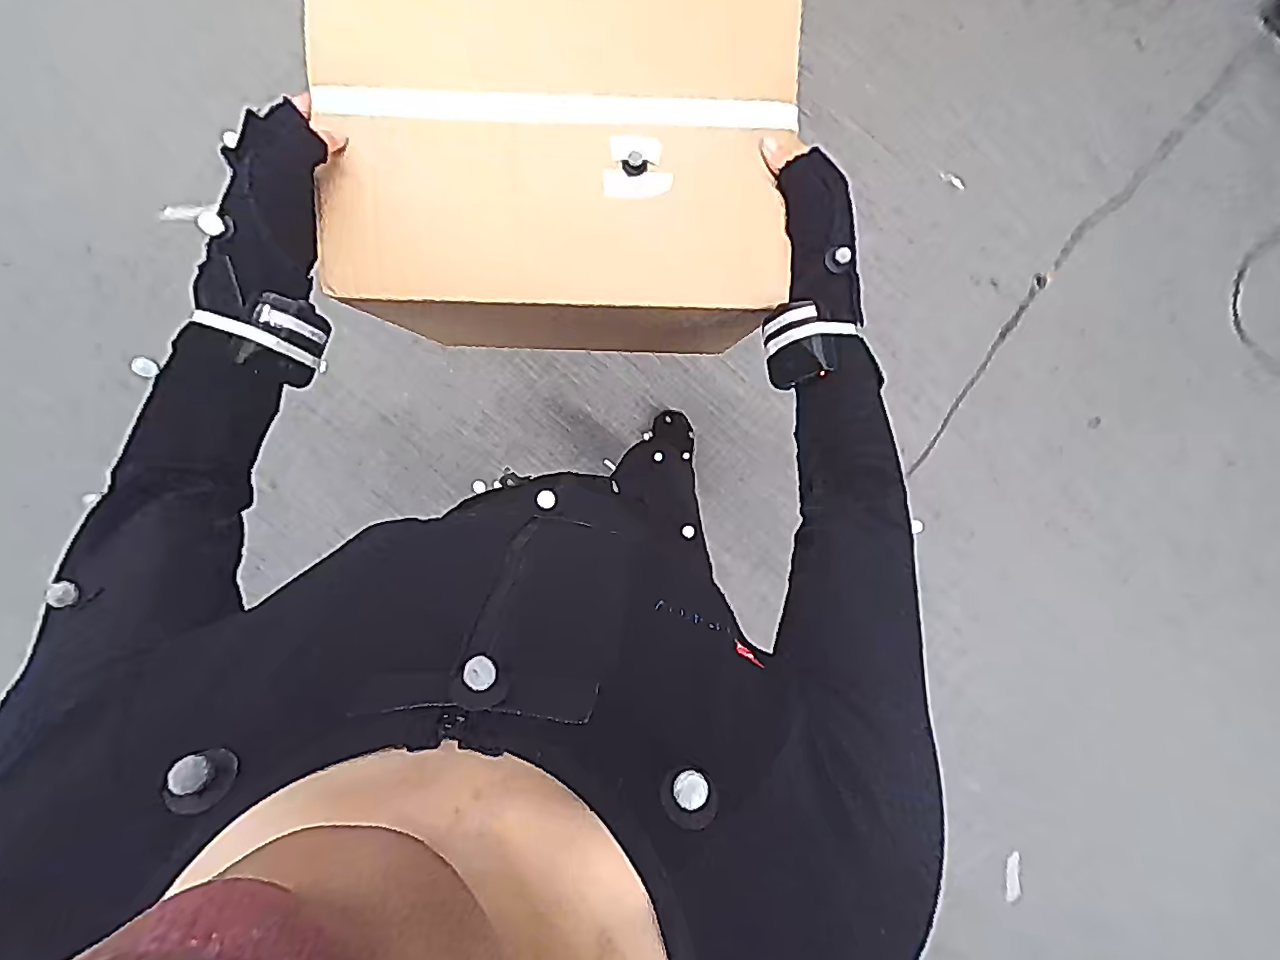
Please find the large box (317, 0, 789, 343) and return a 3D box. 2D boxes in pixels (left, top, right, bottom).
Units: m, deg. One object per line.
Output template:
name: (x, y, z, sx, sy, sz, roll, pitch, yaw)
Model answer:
large box: (-0.077, -0.336, 0.611, 0.408, 0.320, 0.320, 0, 97, -2)
